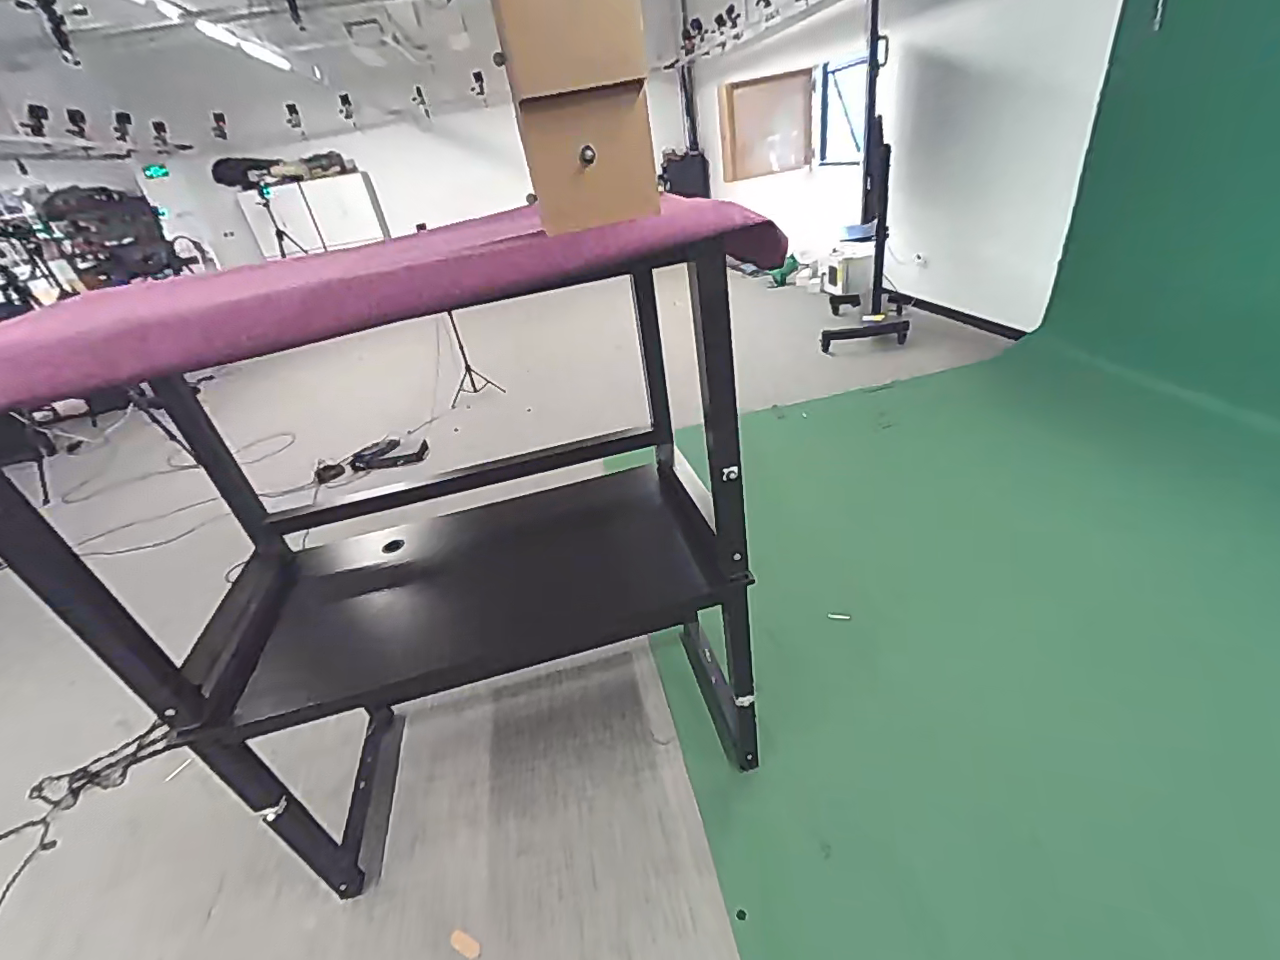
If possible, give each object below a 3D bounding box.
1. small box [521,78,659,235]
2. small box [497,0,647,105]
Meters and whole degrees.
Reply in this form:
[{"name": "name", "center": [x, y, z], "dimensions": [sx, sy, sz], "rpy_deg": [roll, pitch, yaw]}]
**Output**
[{"name": "small box", "center": [-0.074, -0.487, 0.824], "dimensions": [0.179, 0.176, 0.168], "rpy_deg": [-15, 31, -5]}, {"name": "small box", "center": [-0.093, -0.616, 0.721], "dimensions": [0.179, 0.176, 0.168], "rpy_deg": [-15, 31, -6]}]
